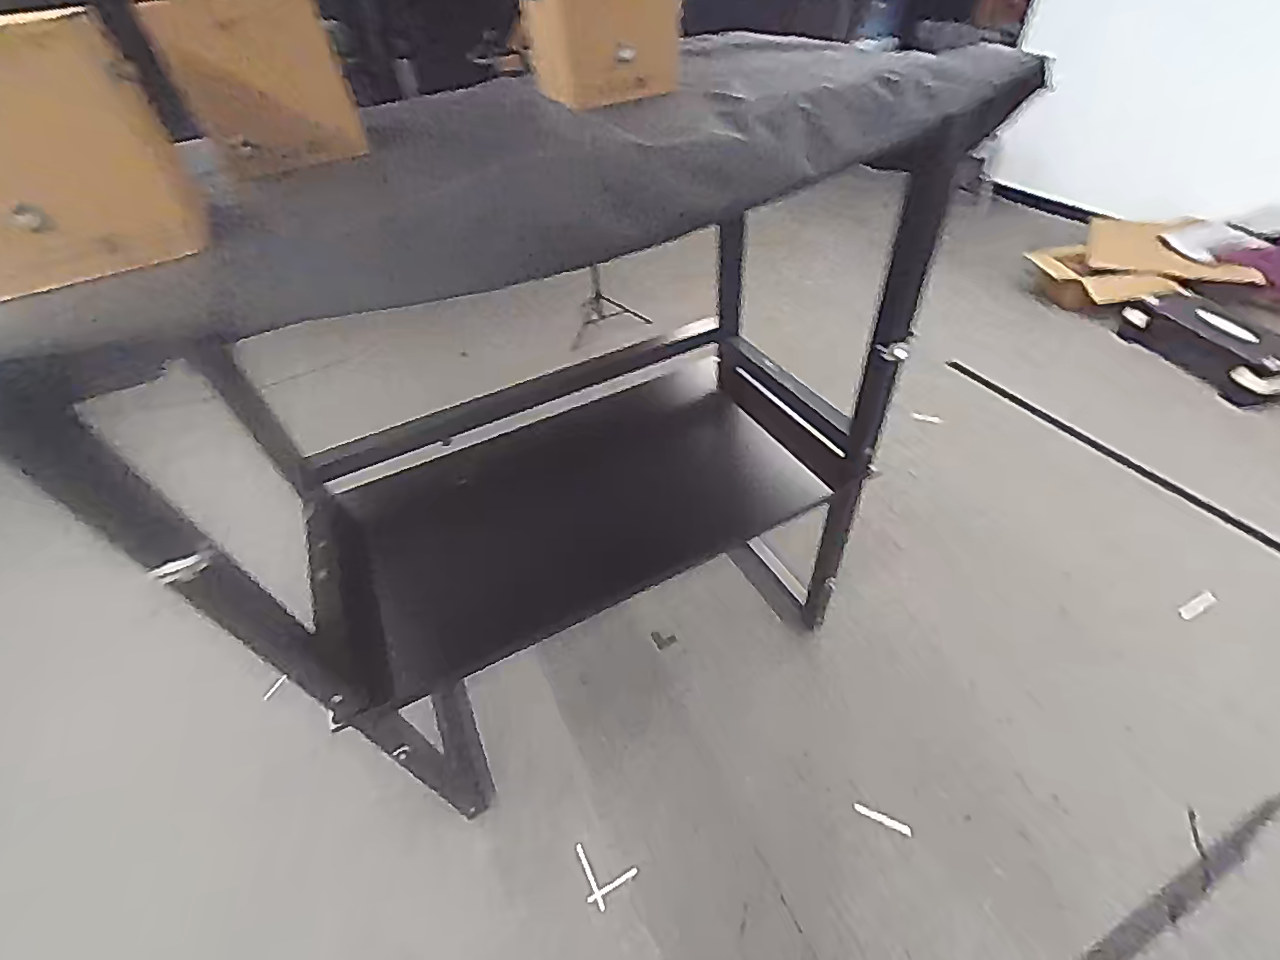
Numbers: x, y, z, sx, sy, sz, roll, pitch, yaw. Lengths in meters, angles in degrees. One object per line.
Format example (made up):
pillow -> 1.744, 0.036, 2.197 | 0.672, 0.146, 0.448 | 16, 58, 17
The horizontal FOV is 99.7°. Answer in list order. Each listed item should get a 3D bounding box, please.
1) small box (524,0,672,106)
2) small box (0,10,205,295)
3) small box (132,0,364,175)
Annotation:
small box -> -0.065, -0.658, 0.777 | 0.168, 0.176, 0.179 | -22, 47, -13
small box -> -0.517, -0.284, 0.467 | 0.168, 0.176, 0.179 | -26, 49, -18
small box -> -0.466, -0.499, 0.672 | 0.168, 0.176, 0.179 | -23, 47, -15
